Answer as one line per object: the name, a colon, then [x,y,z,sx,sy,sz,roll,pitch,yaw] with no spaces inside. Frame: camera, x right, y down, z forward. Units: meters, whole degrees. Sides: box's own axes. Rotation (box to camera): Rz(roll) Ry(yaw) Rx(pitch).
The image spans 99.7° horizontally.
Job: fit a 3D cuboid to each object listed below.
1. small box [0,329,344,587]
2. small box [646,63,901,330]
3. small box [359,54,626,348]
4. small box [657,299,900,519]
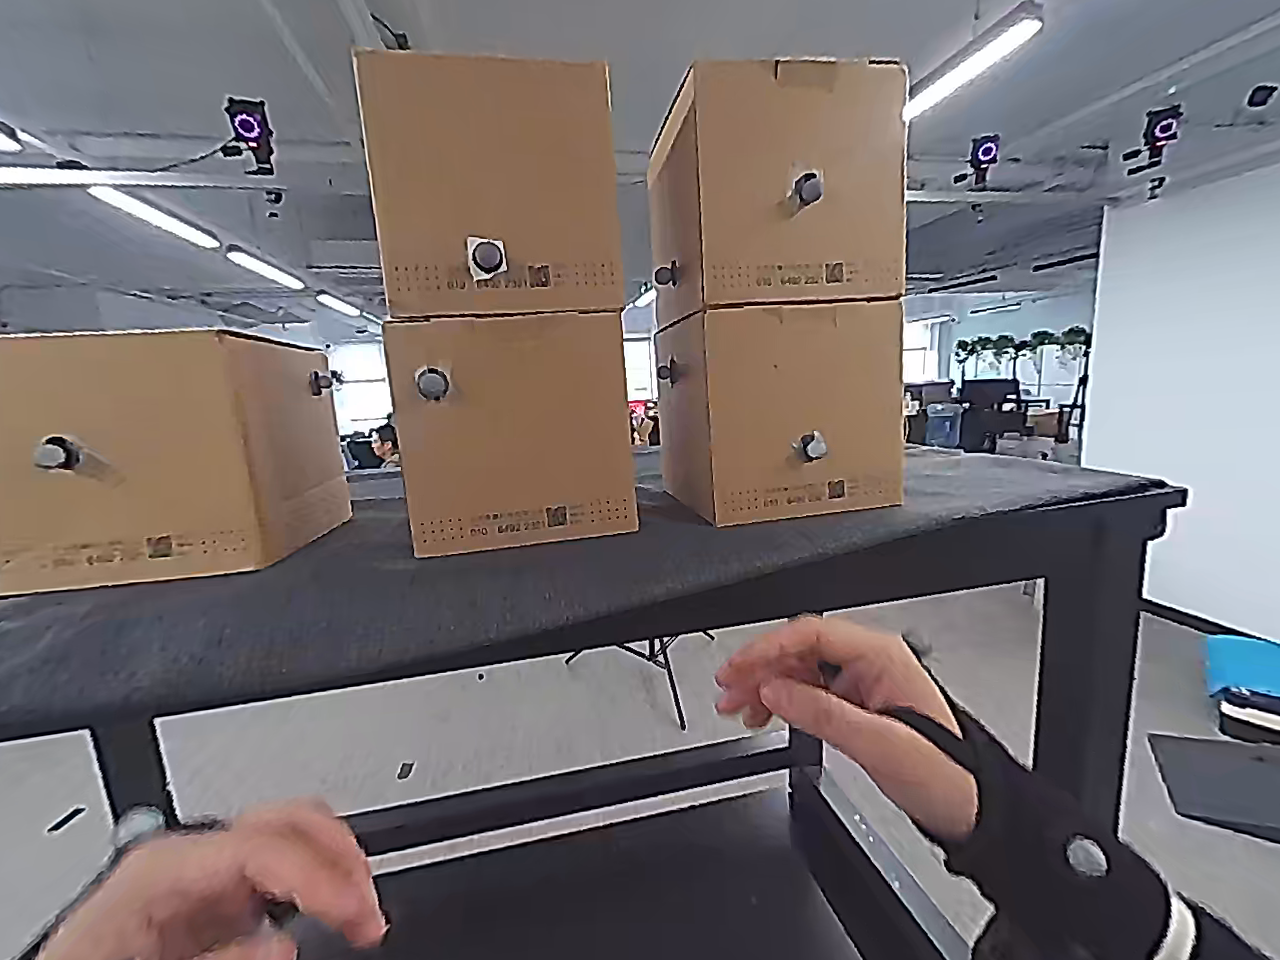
small box: [-0.358,-0.019,0.430,0.168,0.176,0.179,-5,9,-9]
small box: [0.105,-0.227,0.479,0.168,0.176,0.179,-5,10,-9]
small box: [-0.111,-0.205,0.448,0.168,0.176,0.179,-7,10,-12]
small box: [0.115,-0.065,0.505,0.168,0.176,0.179,-7,10,-10]
